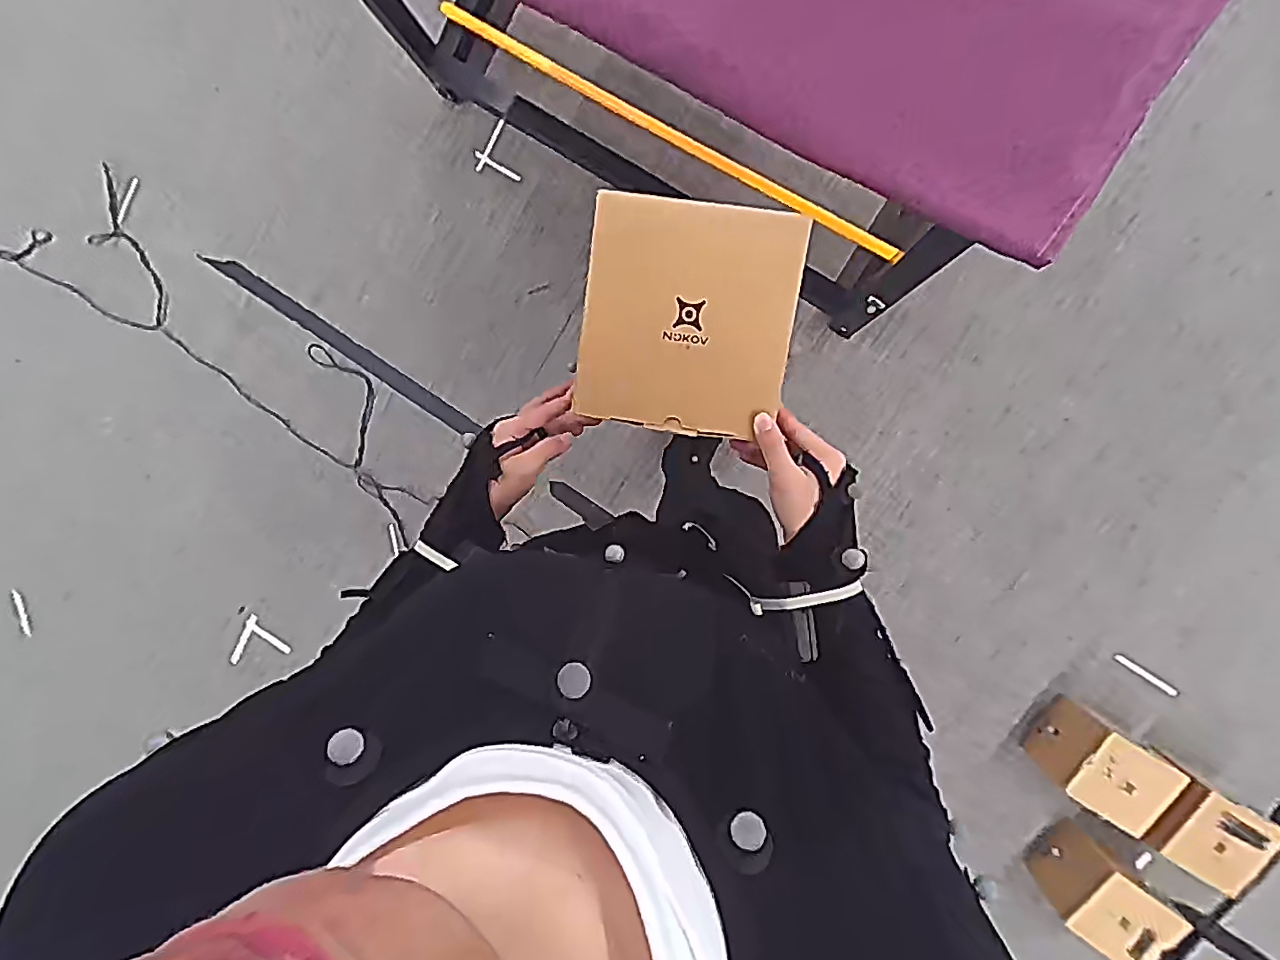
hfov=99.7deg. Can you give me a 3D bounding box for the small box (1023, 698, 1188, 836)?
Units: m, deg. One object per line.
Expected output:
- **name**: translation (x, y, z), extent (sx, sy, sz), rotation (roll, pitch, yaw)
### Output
- **small box**: translation (1.007, 0.618, 1.189), extent (0.179, 0.176, 0.168), rotation (32, 99, 5)

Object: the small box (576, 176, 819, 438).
- **small box**: translation (0.044, -0.144, 0.491), extent (0.168, 0.176, 0.179), rotation (8, 101, 2)

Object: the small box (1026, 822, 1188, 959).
- **small box**: translation (1.033, 0.925, 1.216), extent (0.179, 0.176, 0.168), rotation (35, 100, 5)
